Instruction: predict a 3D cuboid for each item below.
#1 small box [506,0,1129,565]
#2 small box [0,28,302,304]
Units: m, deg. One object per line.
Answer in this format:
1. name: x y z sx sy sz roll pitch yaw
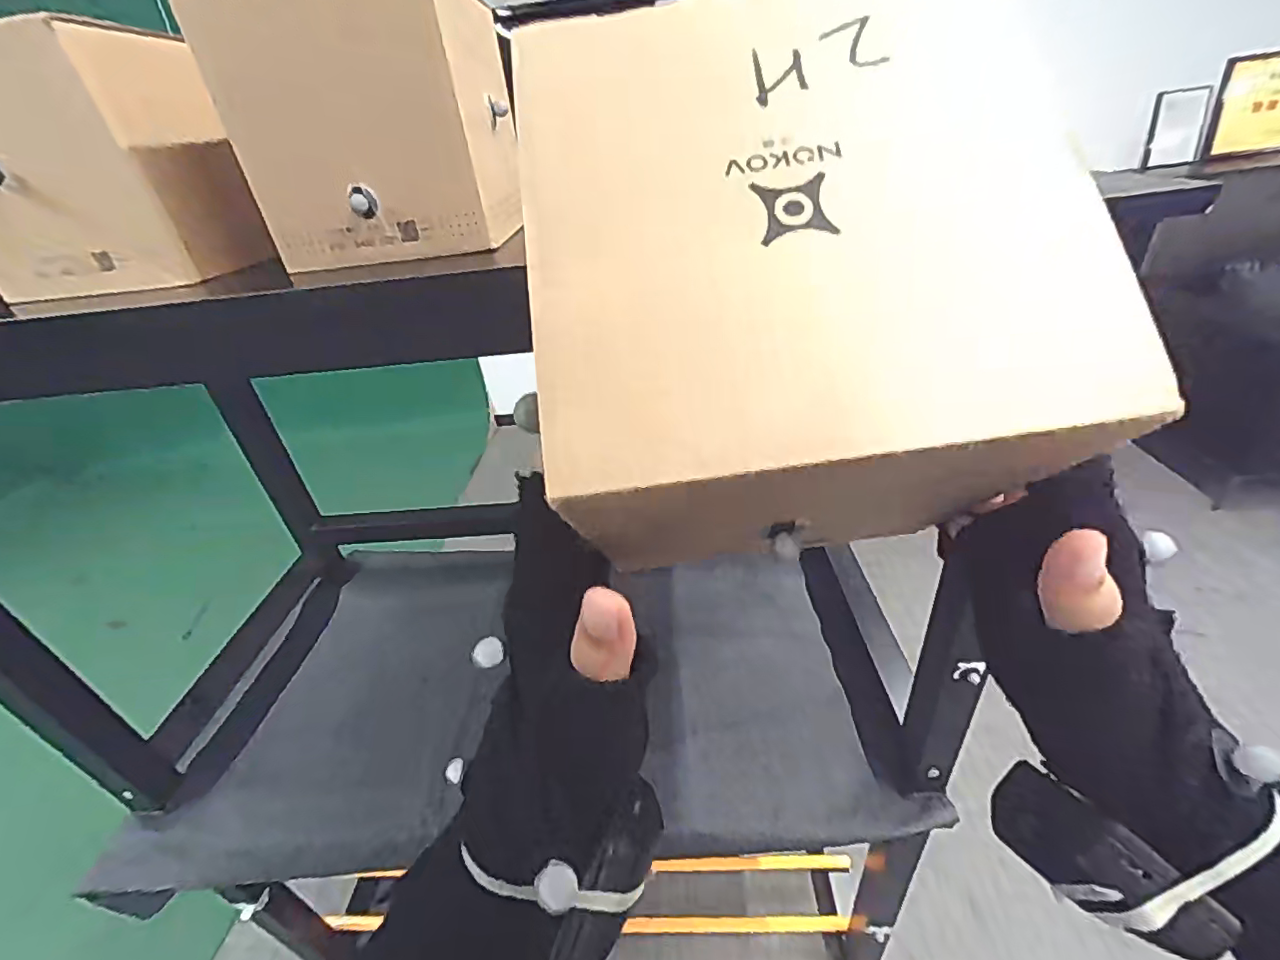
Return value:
1. small box: 0.047 -0.060 0.246 0.168 0.176 0.179 -8 73 2
2. small box: -0.437 -0.255 0.463 0.168 0.176 0.179 -4 32 6
